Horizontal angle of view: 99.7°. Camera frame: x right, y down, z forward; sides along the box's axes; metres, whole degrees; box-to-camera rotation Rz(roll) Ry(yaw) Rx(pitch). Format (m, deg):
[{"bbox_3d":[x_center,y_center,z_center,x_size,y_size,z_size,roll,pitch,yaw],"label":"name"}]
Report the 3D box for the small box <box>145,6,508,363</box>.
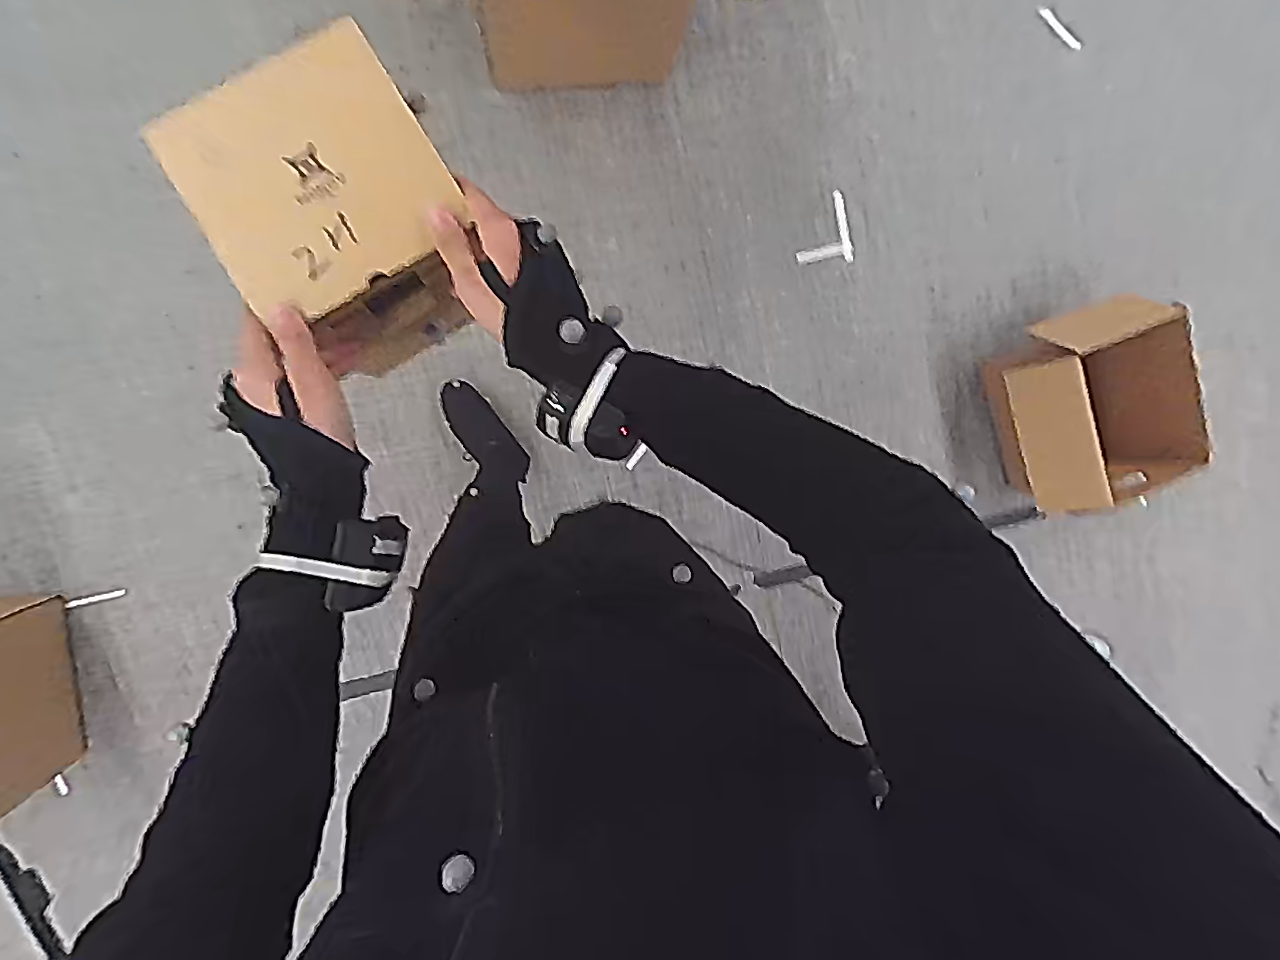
[{"bbox_3d":[-0.233,-0.221,0.458,0.168,0.176,0.179,-31,97,-3],"label":"small box"}]
